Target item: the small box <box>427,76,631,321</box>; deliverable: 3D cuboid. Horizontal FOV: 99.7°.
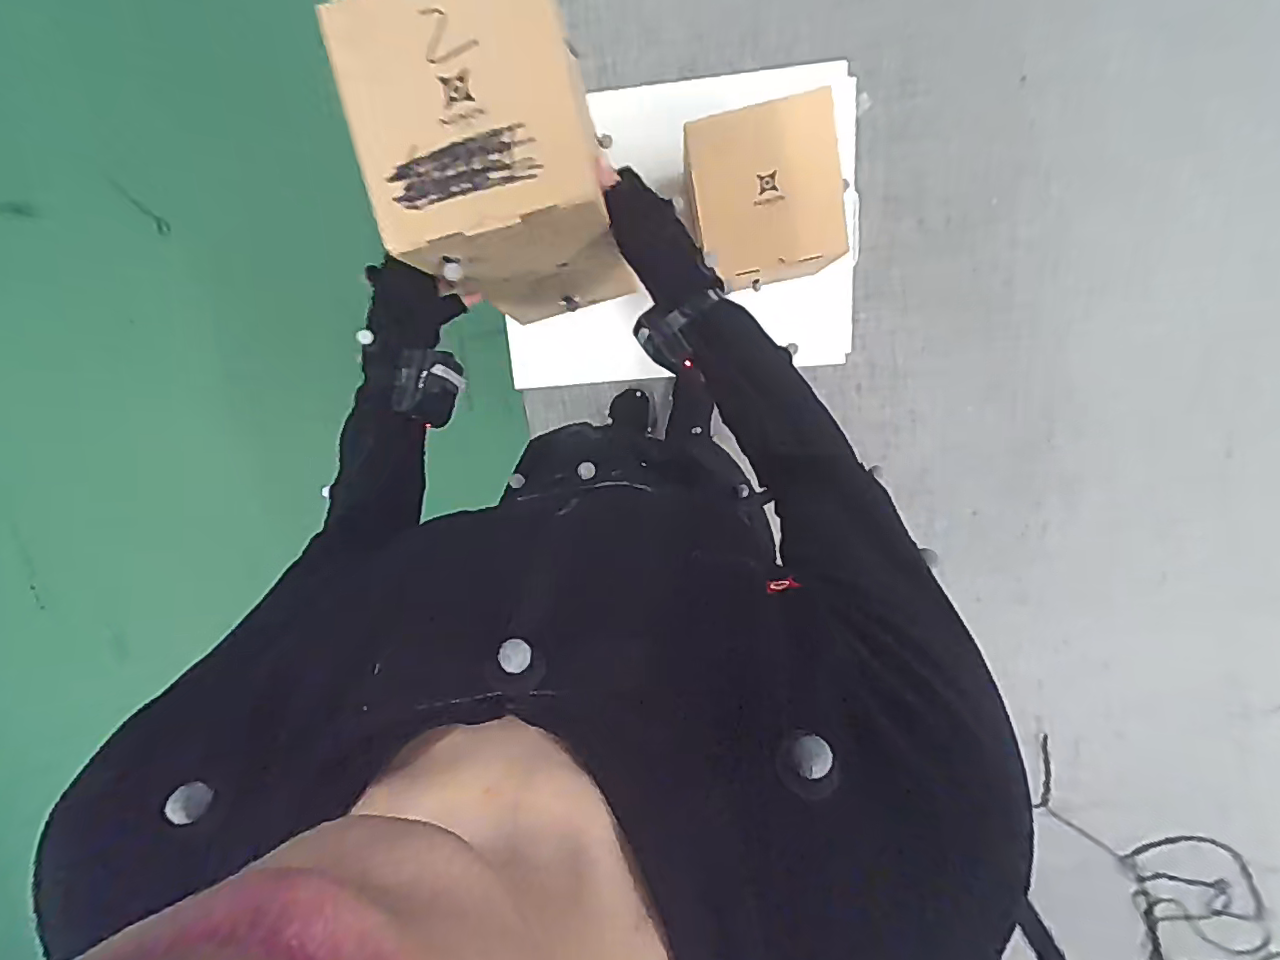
[{"bbox_3d":[-0.115,-0.307,0.629,0.168,0.176,0.179,-15,92,6],"label":"small box"}]
